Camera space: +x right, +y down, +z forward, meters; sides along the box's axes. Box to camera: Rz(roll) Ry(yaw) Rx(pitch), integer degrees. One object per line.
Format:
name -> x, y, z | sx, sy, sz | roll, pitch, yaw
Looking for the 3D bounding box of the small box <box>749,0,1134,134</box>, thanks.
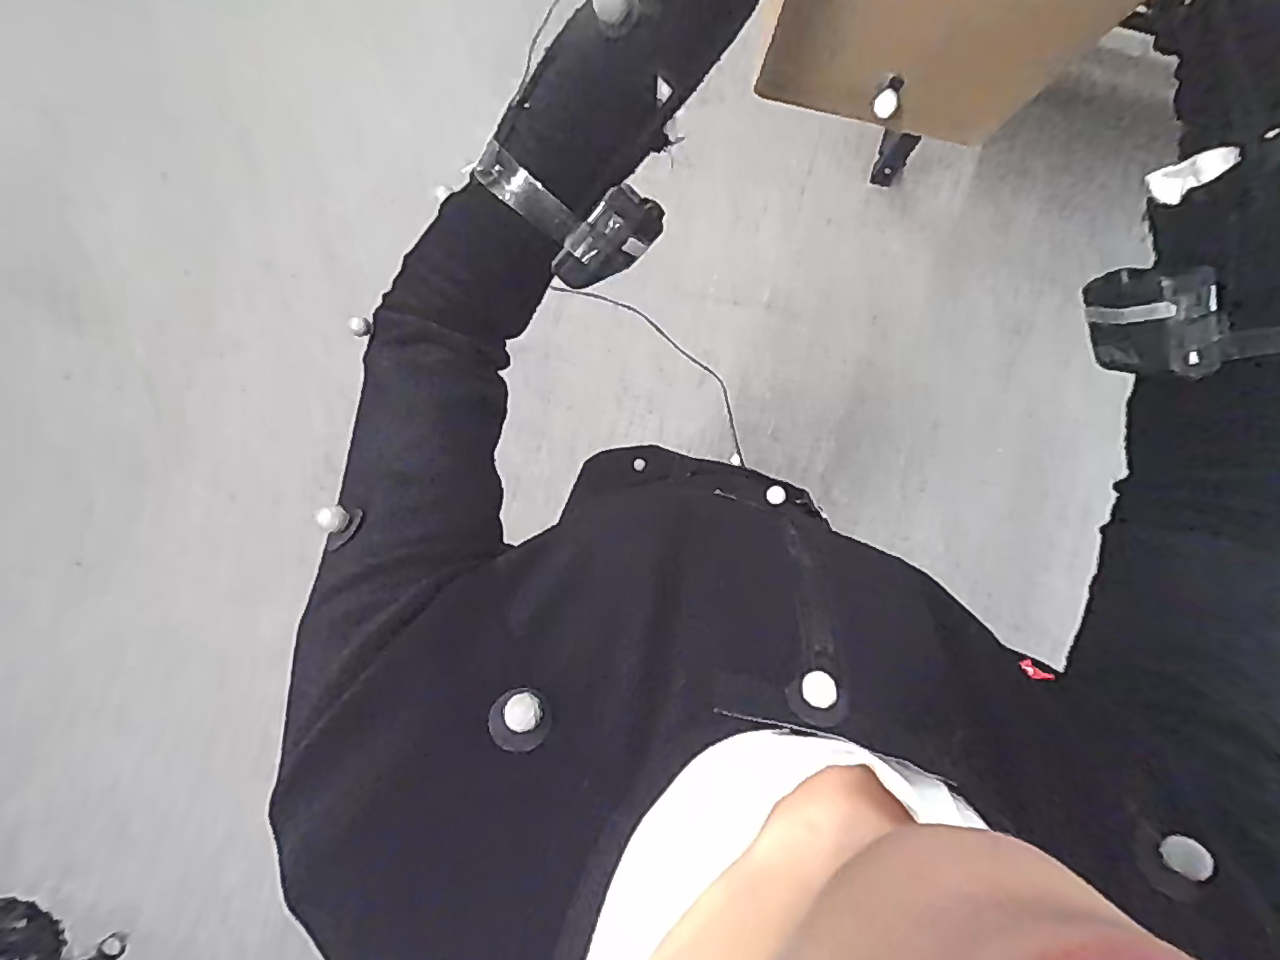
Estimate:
small box -> 0.183, -0.345, 0.320 | 0.179, 0.176, 0.168 | 12, 93, -3
